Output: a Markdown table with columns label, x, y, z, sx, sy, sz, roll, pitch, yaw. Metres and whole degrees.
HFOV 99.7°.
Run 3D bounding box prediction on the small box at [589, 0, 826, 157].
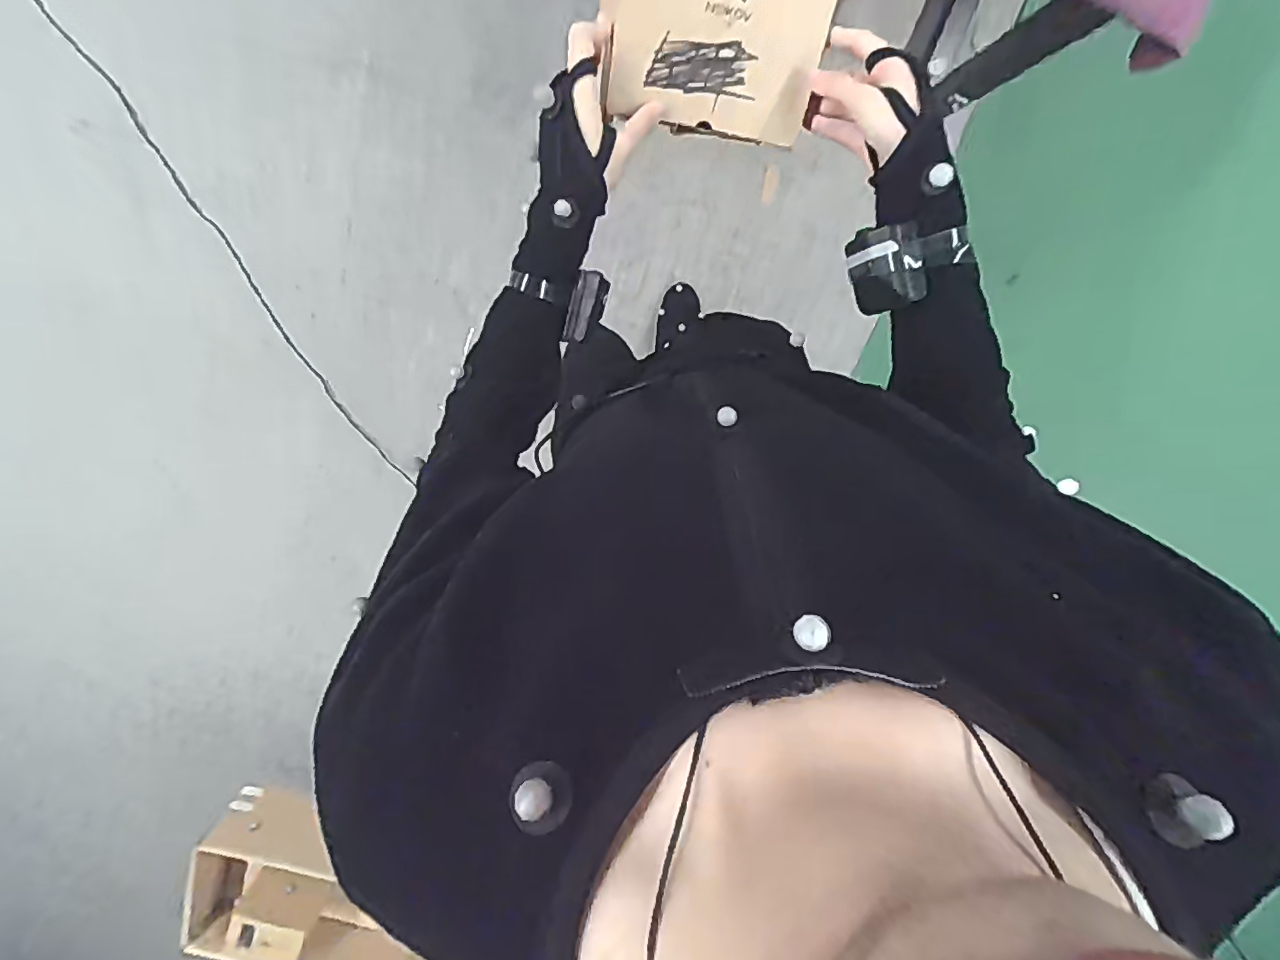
| label | x | y | z | sx | sy | sz | roll | pitch | yaw |
| --- | --- | --- | --- | --- | --- | --- | --- | --- | --- |
| small box | 0.047 | -0.397 | 0.462 | 0.168 | 0.176 | 0.179 | 3 | 124 | -11 |
